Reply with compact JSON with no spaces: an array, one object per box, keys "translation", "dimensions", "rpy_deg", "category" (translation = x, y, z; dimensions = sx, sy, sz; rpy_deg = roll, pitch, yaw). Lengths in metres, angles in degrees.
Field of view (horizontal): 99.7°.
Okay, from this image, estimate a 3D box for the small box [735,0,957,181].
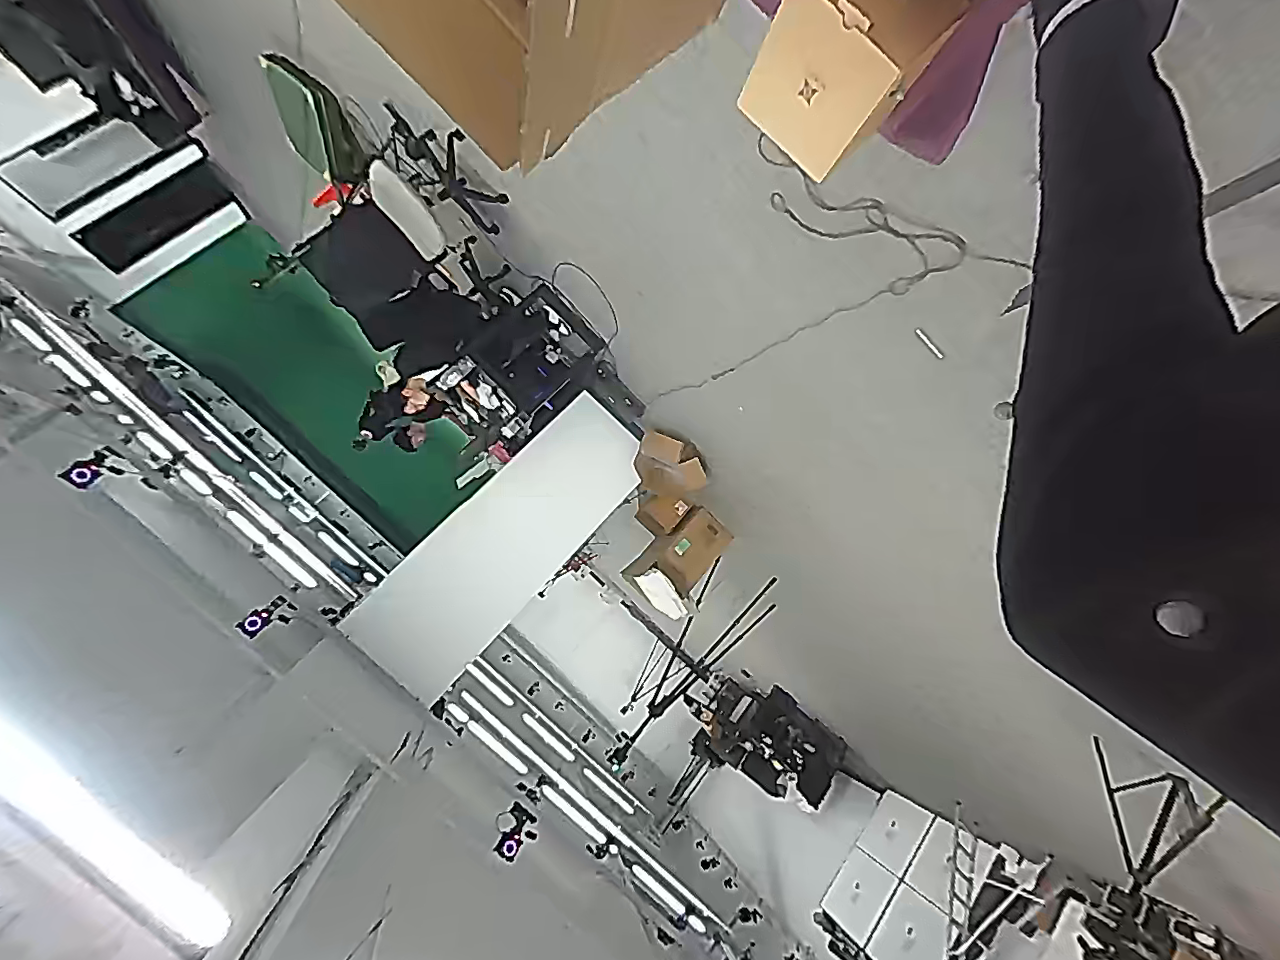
[{"translation":[0.262,-0.547,0.703],"dimensions":[0.168,0.176,0.179],"rpy_deg":[43,161,0],"category":"small box"}]
